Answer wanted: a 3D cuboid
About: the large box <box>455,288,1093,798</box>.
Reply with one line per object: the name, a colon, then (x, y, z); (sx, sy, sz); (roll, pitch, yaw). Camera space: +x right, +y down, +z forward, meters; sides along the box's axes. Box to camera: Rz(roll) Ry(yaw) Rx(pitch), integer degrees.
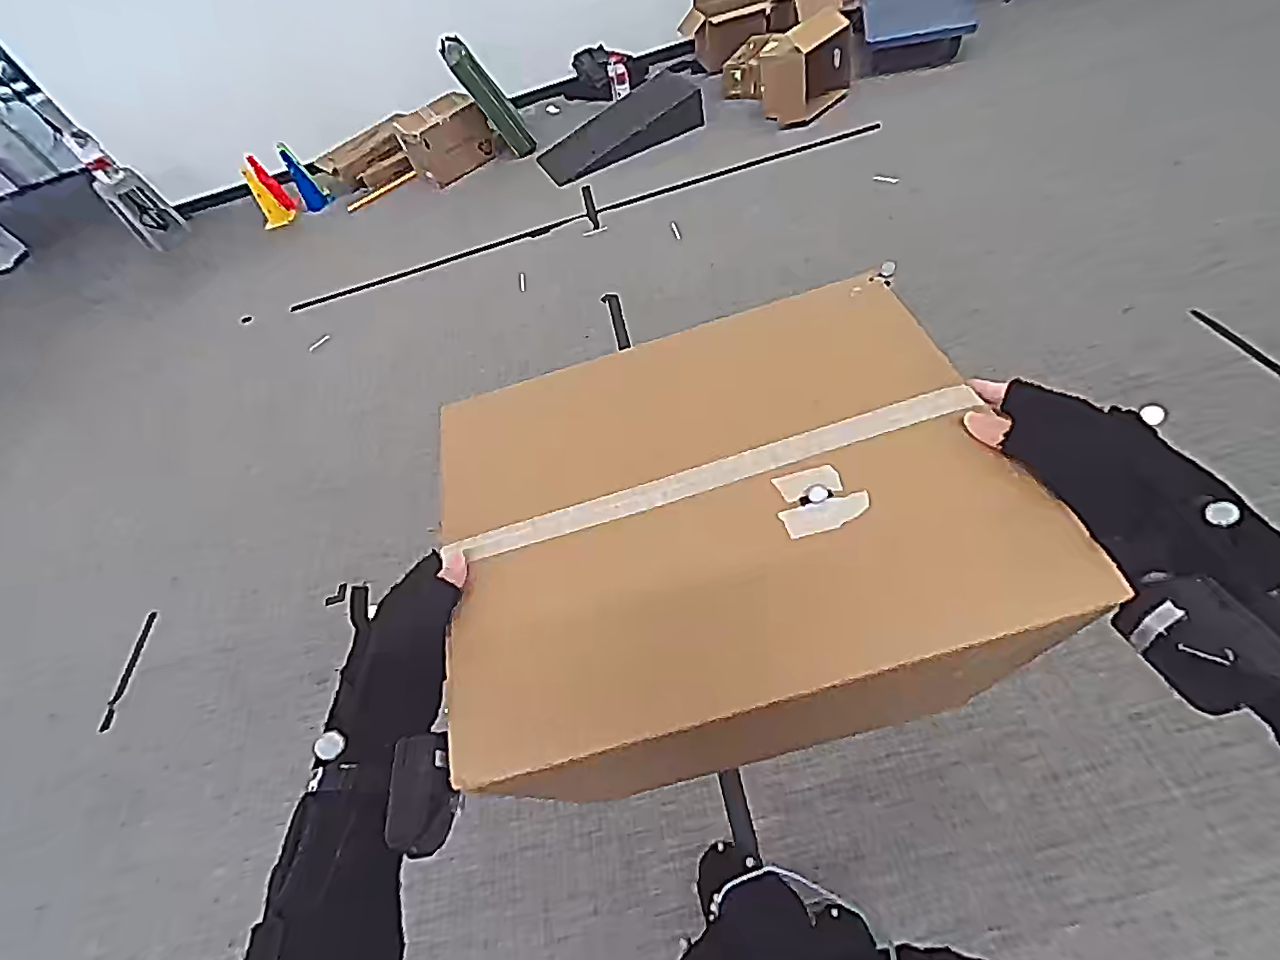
large box: (0.079, 0.083, 0.535); (0.408, 0.320, 0.320); (-17, 57, 2)
